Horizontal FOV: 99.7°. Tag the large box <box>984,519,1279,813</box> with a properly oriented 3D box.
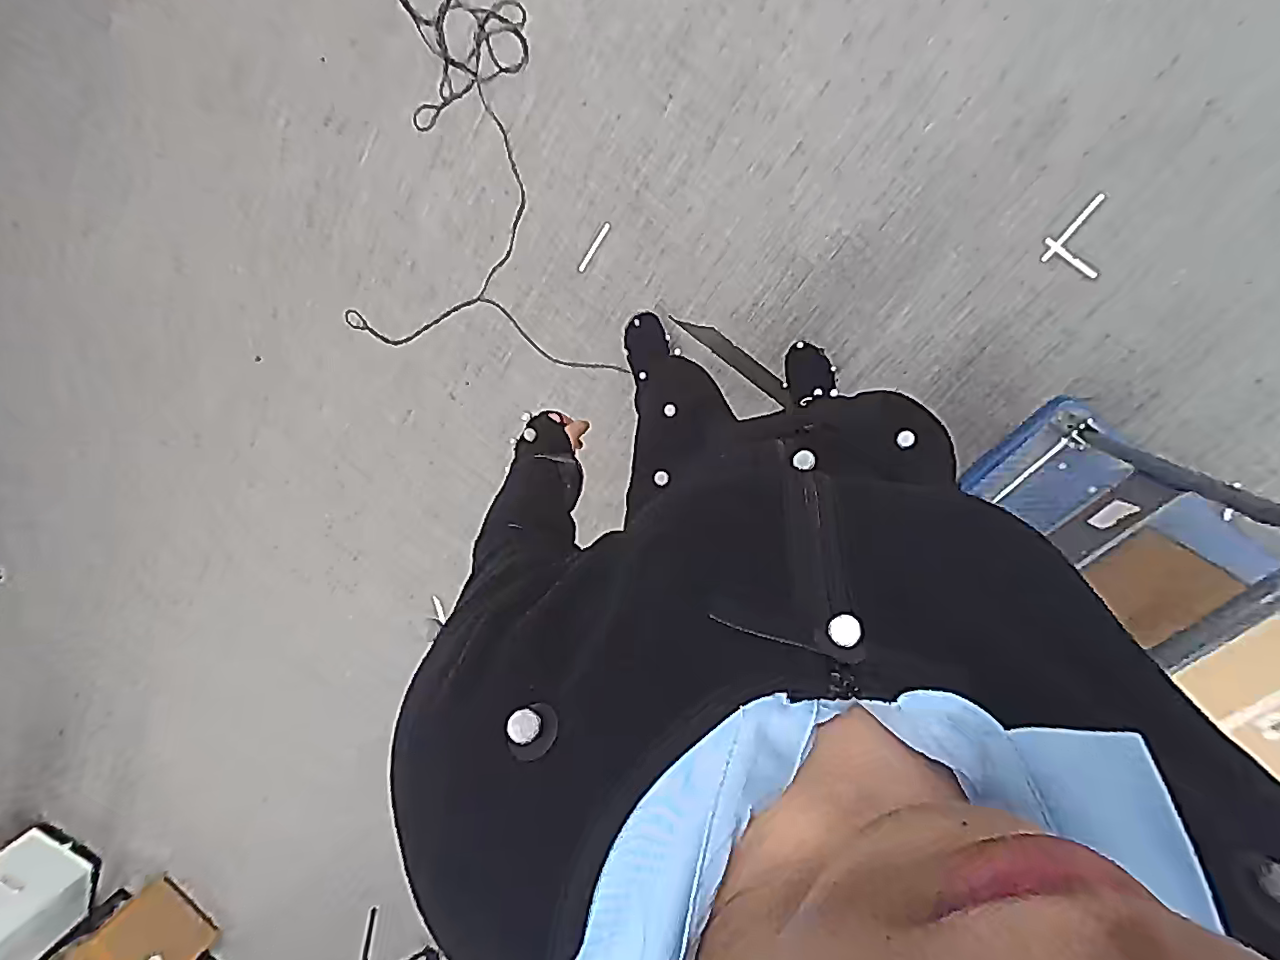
[{"bbox_3d":[1.020,0.357,1.098,0.320,0.320,0.408,40,111,0],"label":"large box"}]
